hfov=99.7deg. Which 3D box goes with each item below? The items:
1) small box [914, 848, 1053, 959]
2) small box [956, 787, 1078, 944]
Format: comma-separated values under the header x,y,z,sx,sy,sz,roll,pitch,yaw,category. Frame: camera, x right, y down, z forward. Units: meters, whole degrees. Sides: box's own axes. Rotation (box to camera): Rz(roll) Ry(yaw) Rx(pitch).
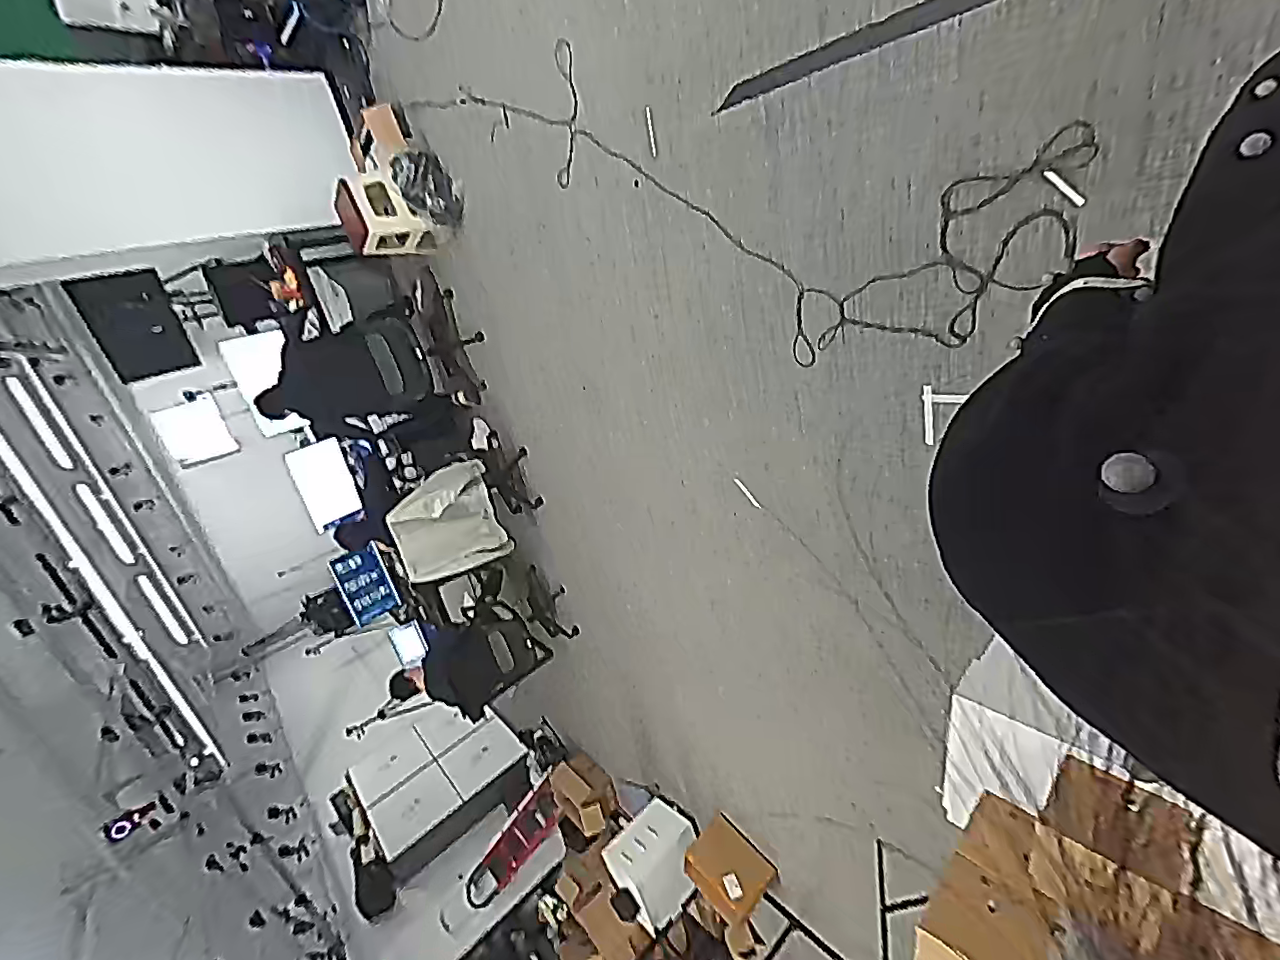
x,y,z,sx,sy,sz,roll,pitch,yaw,category
0.620,0.831,0.981,0.168,0.176,0.179,17,126,46,small box
0.739,0.761,1.072,0.168,0.176,0.179,18,127,45,small box
